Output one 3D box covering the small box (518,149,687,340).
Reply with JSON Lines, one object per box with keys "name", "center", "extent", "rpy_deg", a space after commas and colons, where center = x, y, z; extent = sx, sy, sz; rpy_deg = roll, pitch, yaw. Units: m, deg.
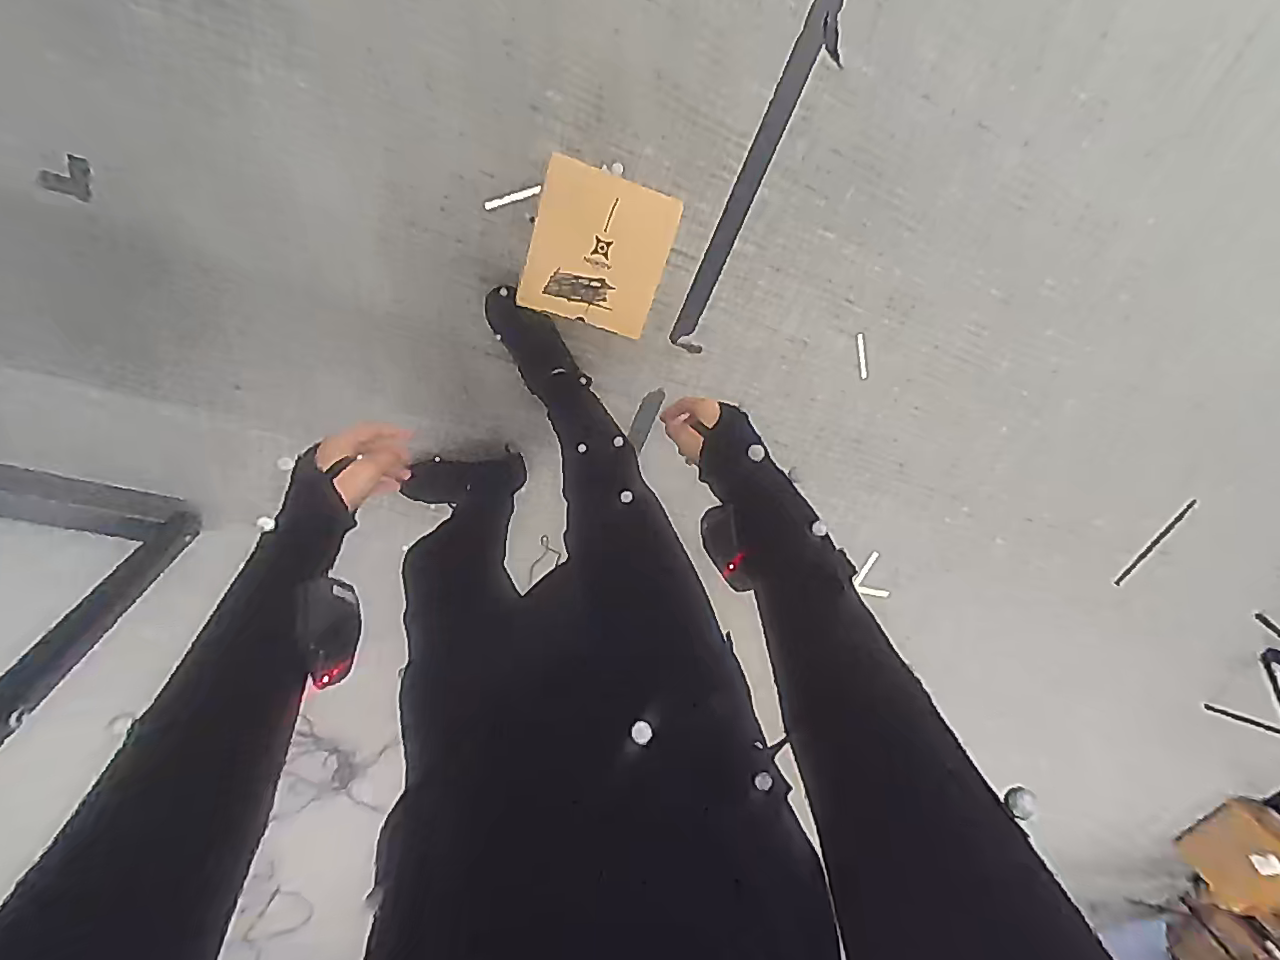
{"name": "small box", "center": [-0.057, -0.314, 0.721], "extent": [0.168, 0.176, 0.179], "rpy_deg": [13, 117, -17]}
